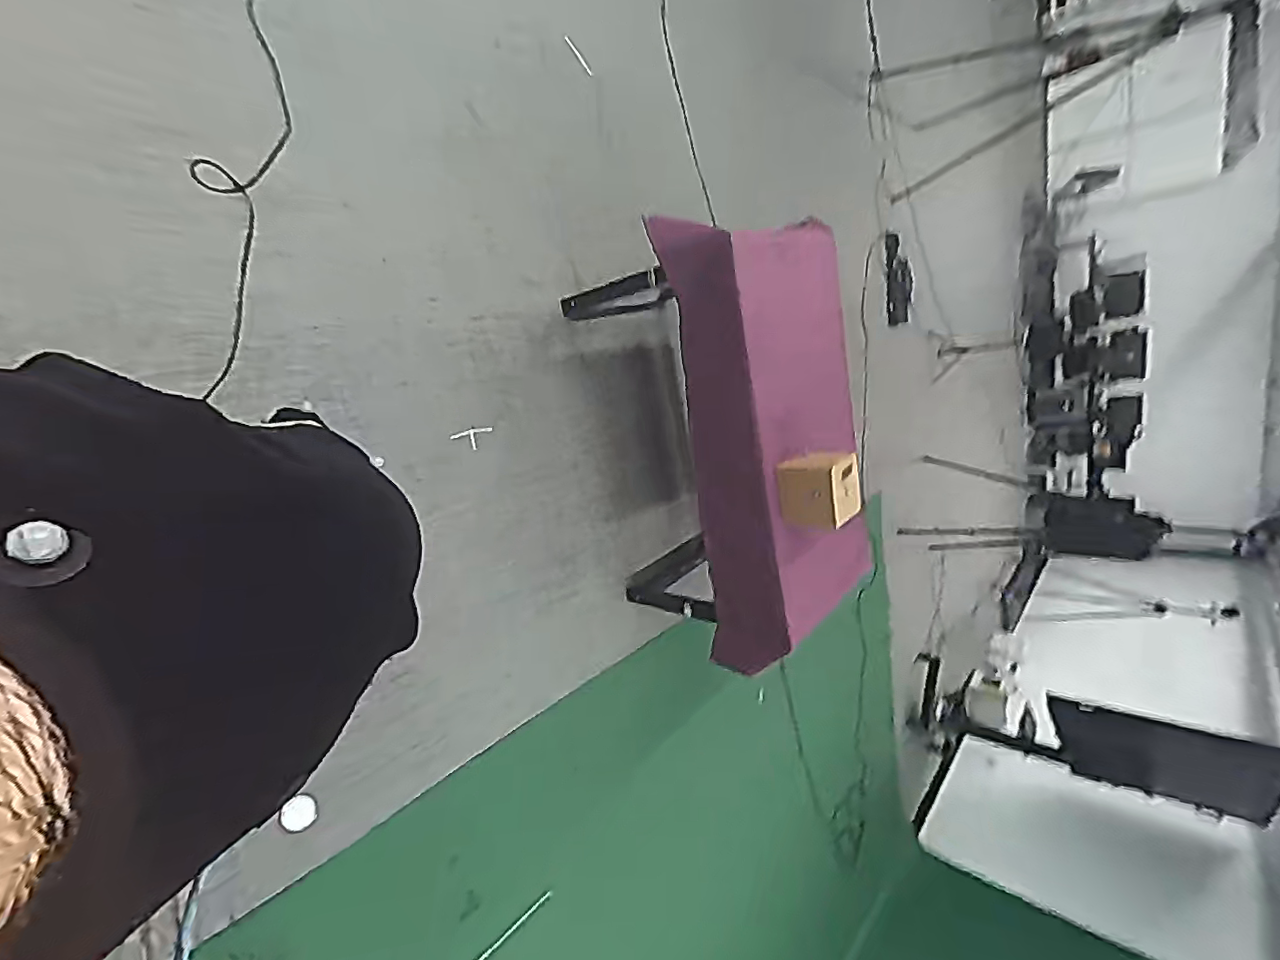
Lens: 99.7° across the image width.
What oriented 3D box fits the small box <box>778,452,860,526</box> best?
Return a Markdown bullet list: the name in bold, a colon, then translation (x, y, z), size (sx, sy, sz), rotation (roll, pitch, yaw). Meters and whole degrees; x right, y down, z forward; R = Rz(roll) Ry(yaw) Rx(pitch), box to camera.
- **small box**: translation (0.513, 0.022, 1.559), size (0.168, 0.176, 0.179), rotation (-22, 108, -42)
